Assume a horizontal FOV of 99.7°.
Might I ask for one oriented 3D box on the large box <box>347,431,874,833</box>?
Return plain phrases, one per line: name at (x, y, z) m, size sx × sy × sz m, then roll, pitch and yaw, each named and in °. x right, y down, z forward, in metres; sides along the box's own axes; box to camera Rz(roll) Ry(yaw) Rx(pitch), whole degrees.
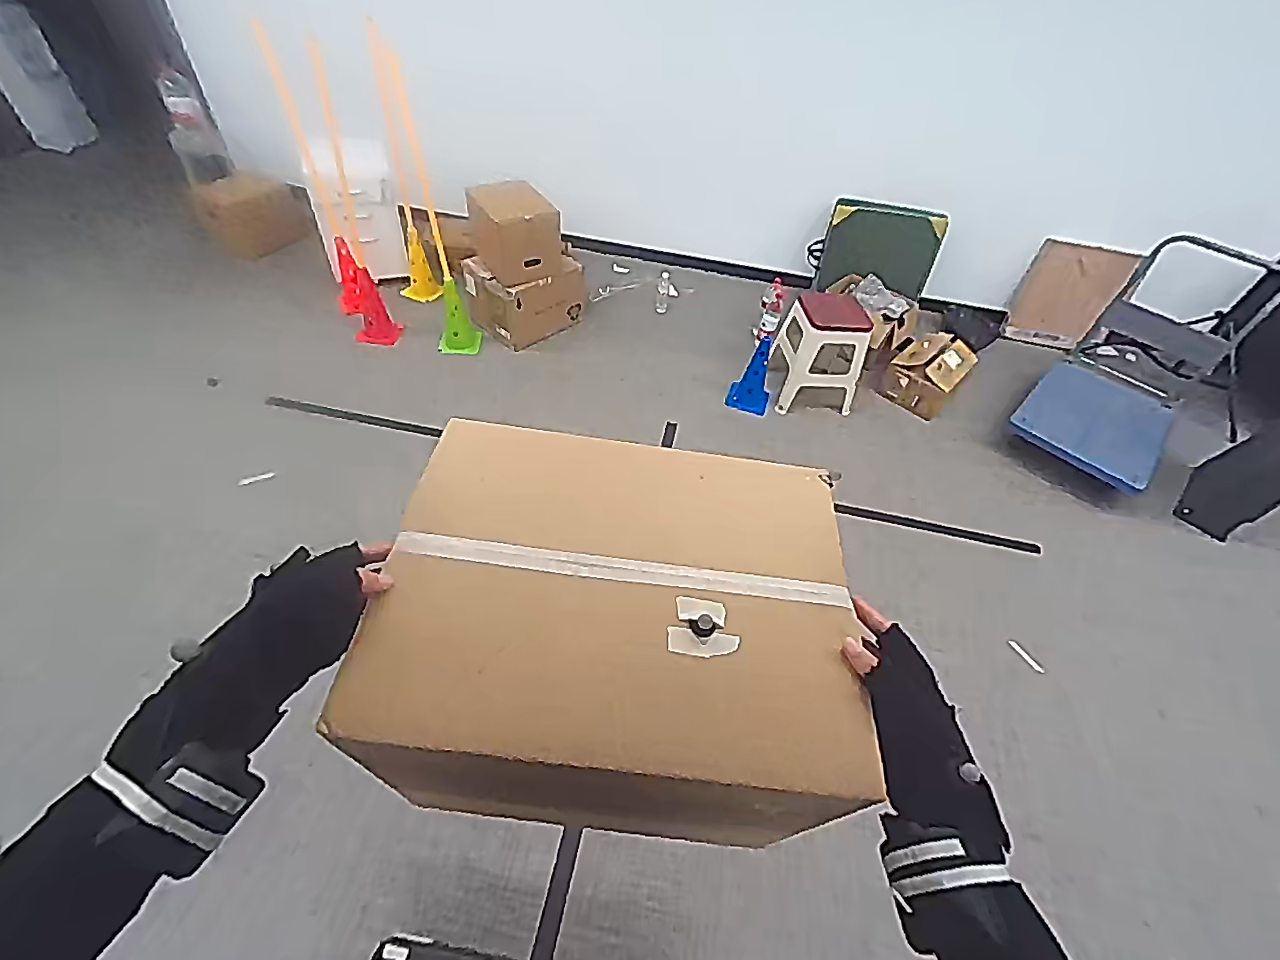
large box at (-0.027, 0.180, 0.606) m, size 0.408 × 0.320 × 0.320 m, roll 8°, pitch 51°, yaw -2°
